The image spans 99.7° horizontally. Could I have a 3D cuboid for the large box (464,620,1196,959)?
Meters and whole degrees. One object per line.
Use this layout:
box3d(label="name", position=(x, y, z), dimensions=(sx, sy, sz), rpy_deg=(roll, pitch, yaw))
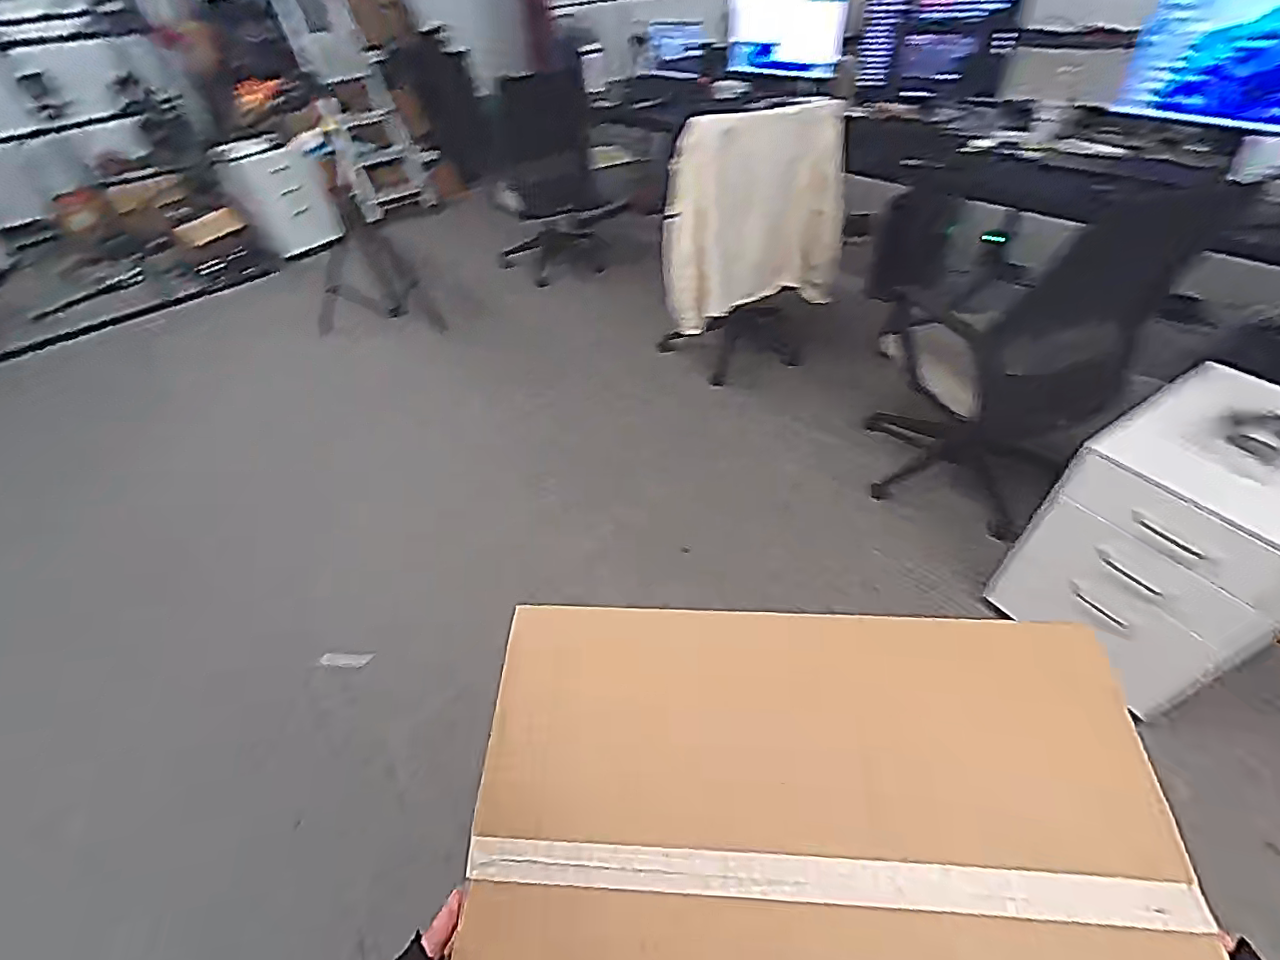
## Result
box3d(label="large box", position=(0.106, 0.315, 0.440), dimensions=(0.408, 0.320, 0.320), rpy_deg=(0, 58, 4))
